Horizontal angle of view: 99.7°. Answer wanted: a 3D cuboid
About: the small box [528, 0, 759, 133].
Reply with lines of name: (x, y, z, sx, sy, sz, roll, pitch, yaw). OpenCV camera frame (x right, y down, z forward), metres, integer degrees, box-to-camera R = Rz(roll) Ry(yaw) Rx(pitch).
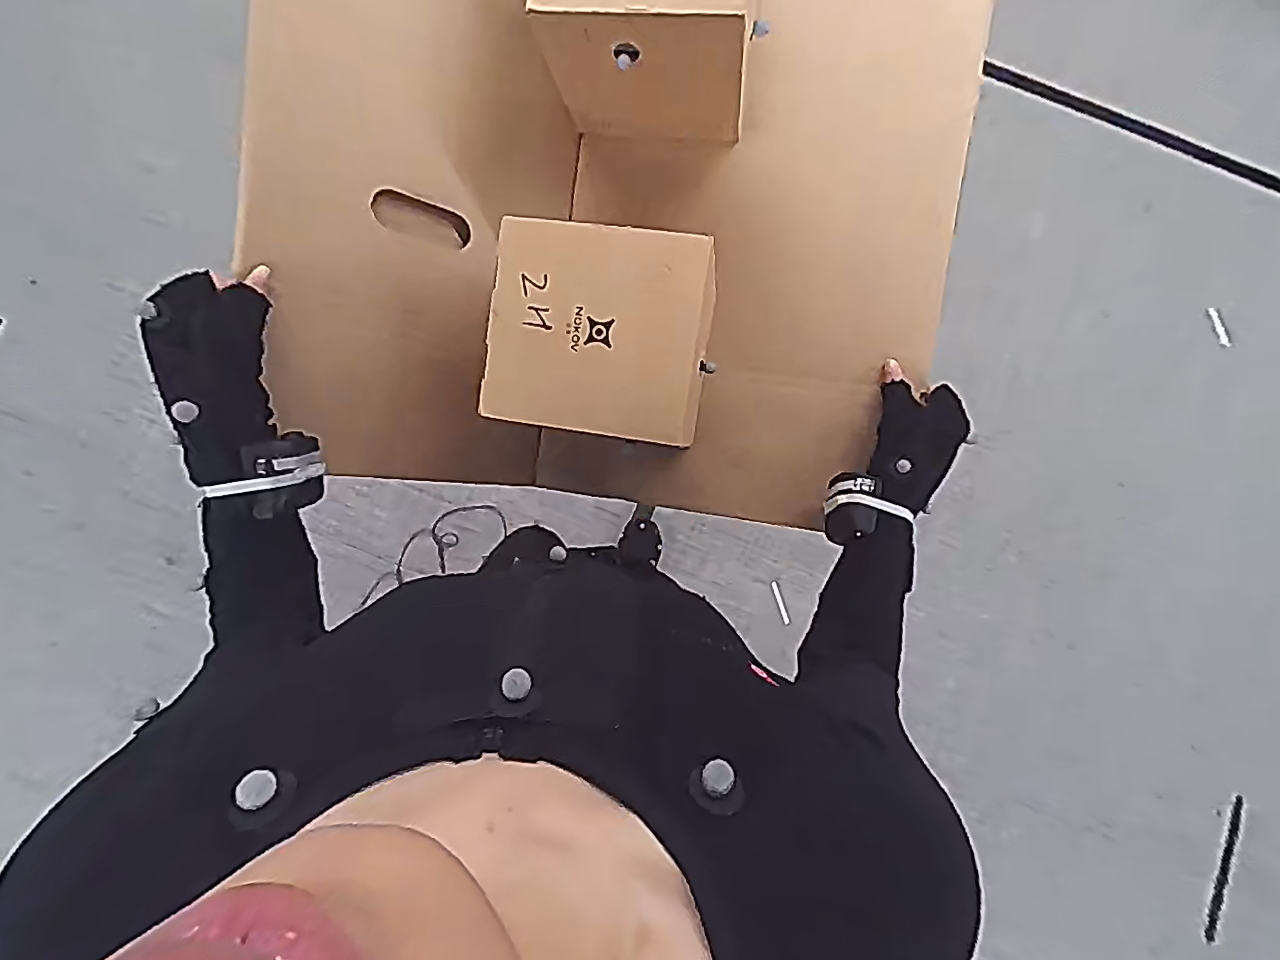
small box: (0.017, -0.450, 0.497, 0.179, 0.176, 0.168, 8, 95, 8)

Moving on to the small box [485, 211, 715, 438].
small box: (-0.025, -0.135, 0.524, 0.179, 0.176, 0.168, 10, 95, 8)
